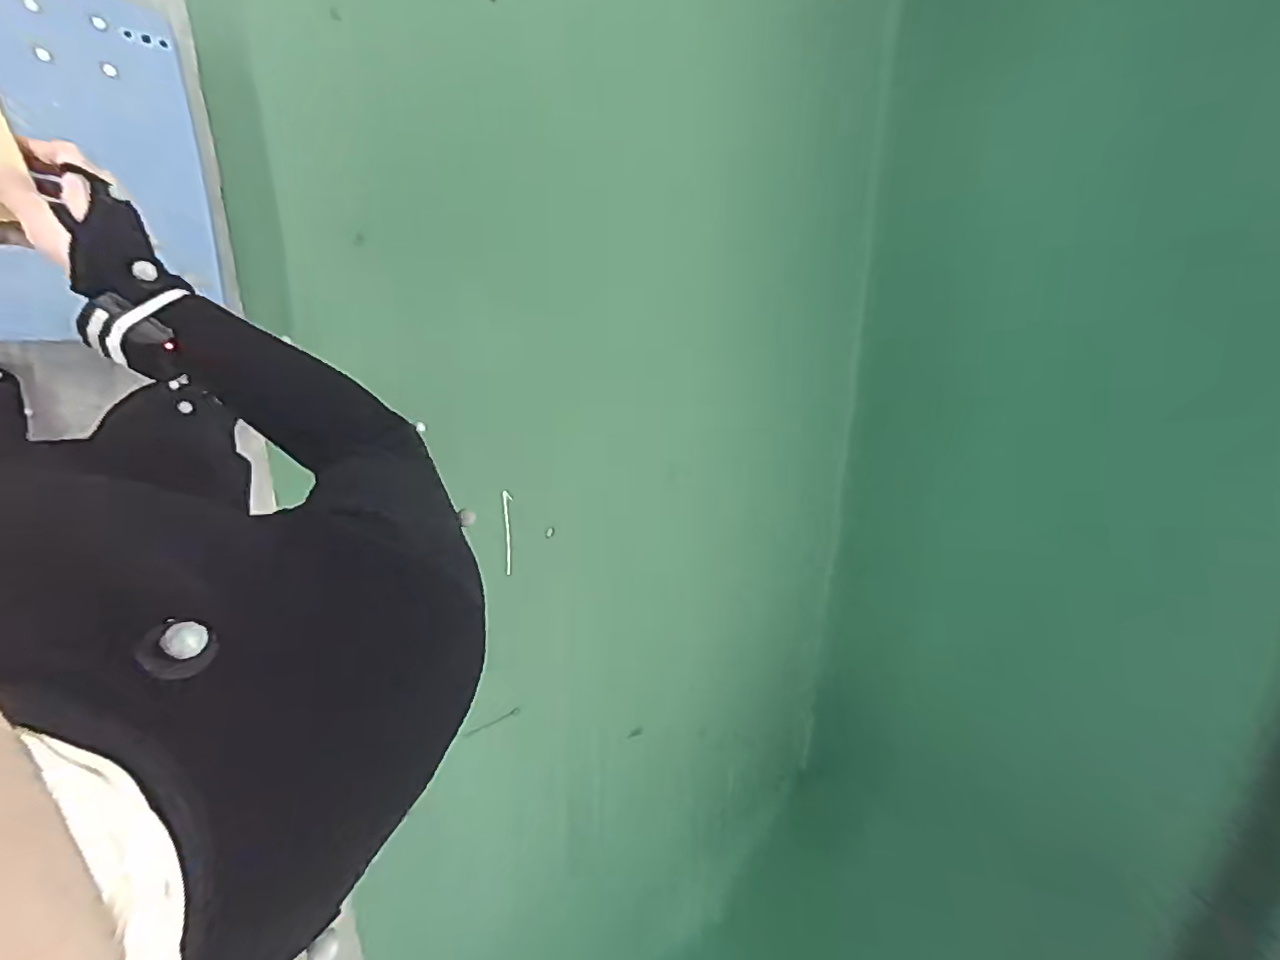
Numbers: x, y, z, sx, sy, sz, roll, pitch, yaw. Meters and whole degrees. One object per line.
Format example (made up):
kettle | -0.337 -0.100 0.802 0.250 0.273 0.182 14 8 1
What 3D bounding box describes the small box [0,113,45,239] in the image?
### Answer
small box | -0.622 -0.284 0.419 0.179 0.176 0.168 -23 117 -39
